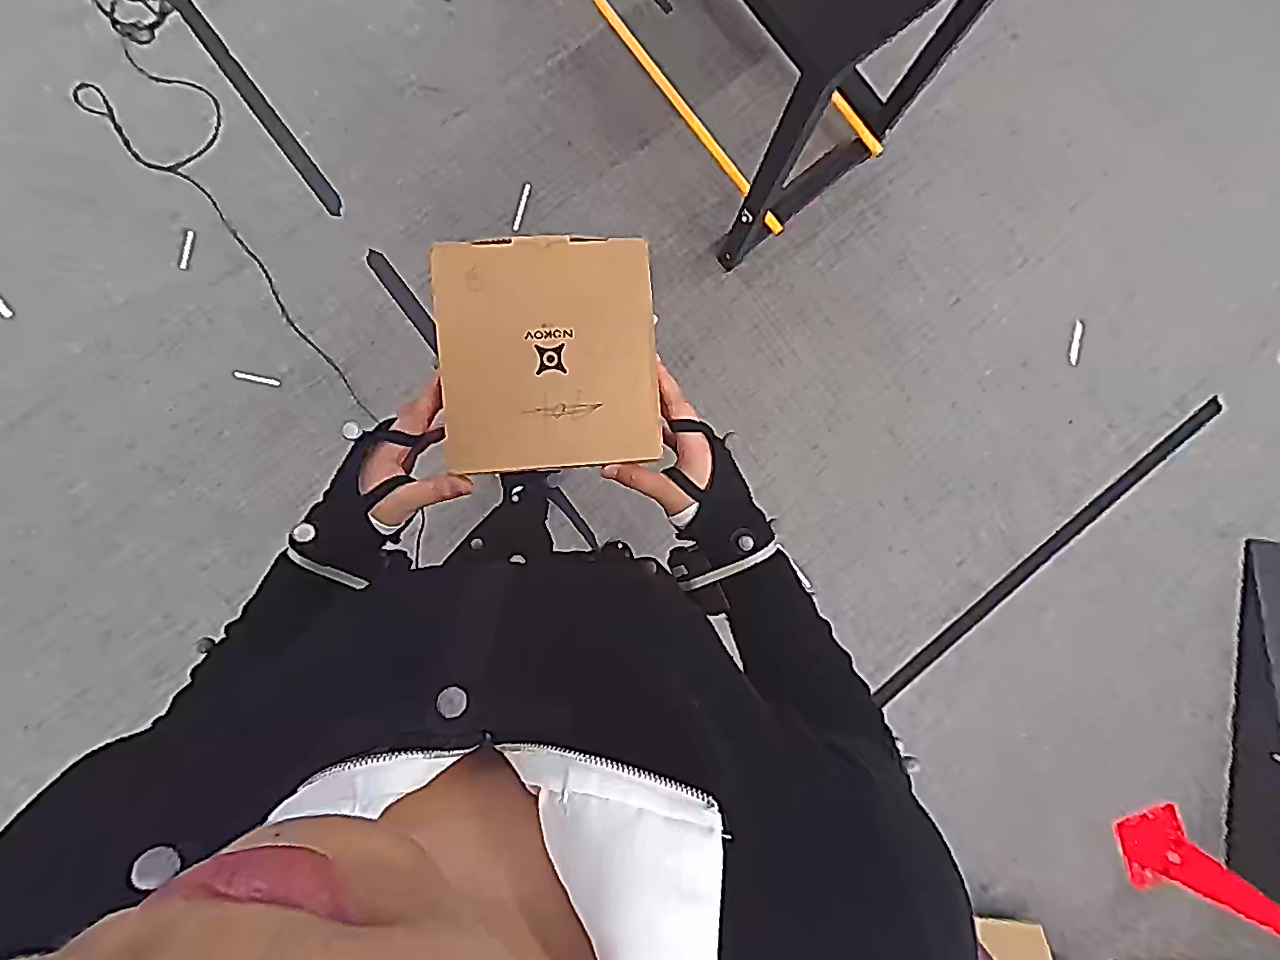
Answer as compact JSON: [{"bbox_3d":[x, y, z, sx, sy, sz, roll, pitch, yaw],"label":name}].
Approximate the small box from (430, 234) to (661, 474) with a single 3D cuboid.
[{"bbox_3d":[-0.079,-0.098,0.486,0.168,0.176,0.179,-5,92,-6],"label":"small box"}]
